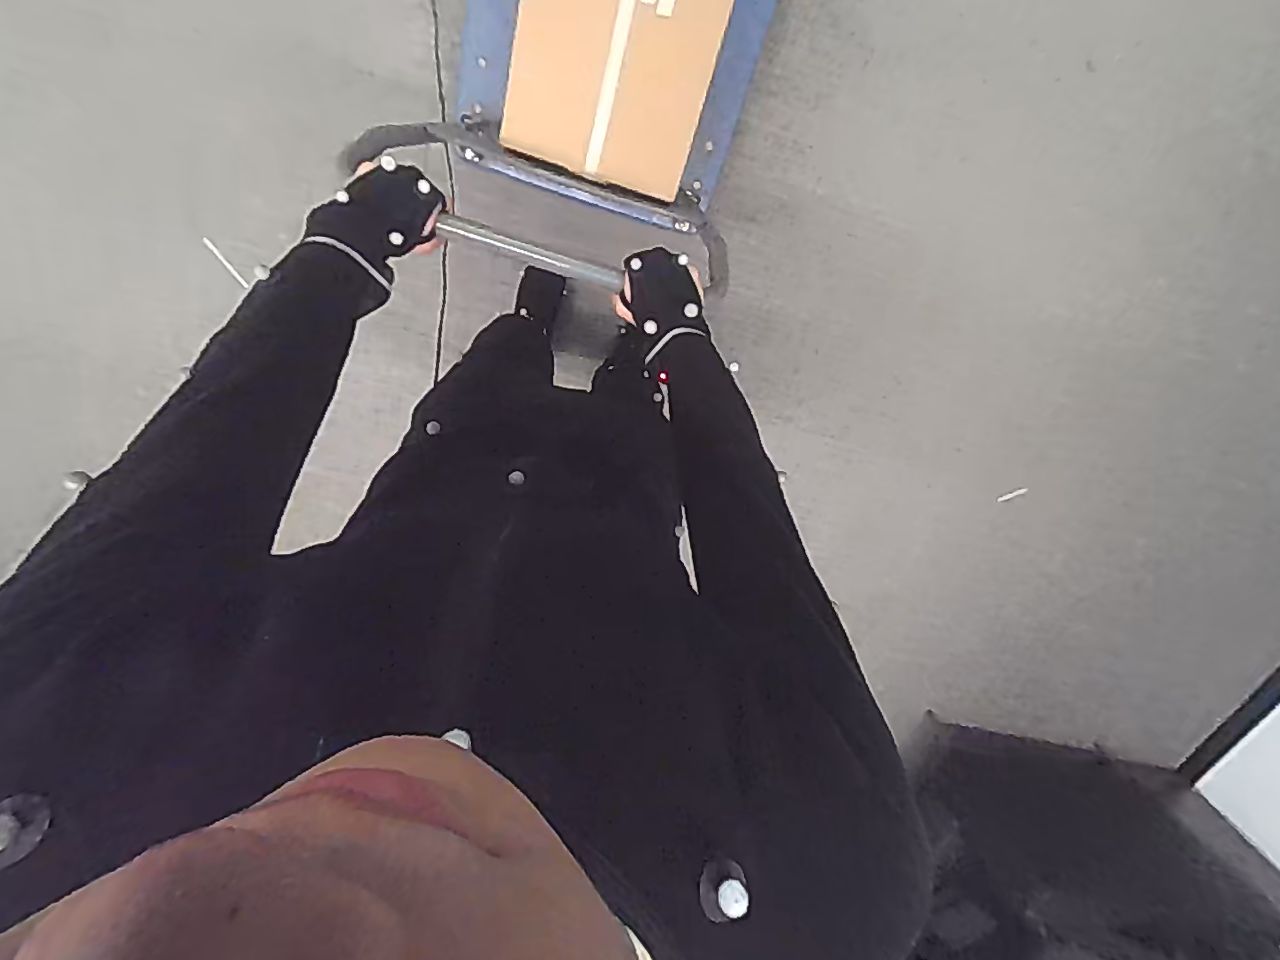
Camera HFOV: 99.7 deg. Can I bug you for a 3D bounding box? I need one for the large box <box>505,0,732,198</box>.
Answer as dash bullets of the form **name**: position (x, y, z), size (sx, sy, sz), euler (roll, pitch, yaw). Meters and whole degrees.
- **large box**: position (-0.035, -0.770, 0.978), size (0.320, 0.320, 0.408), euler (14, 118, -10)
